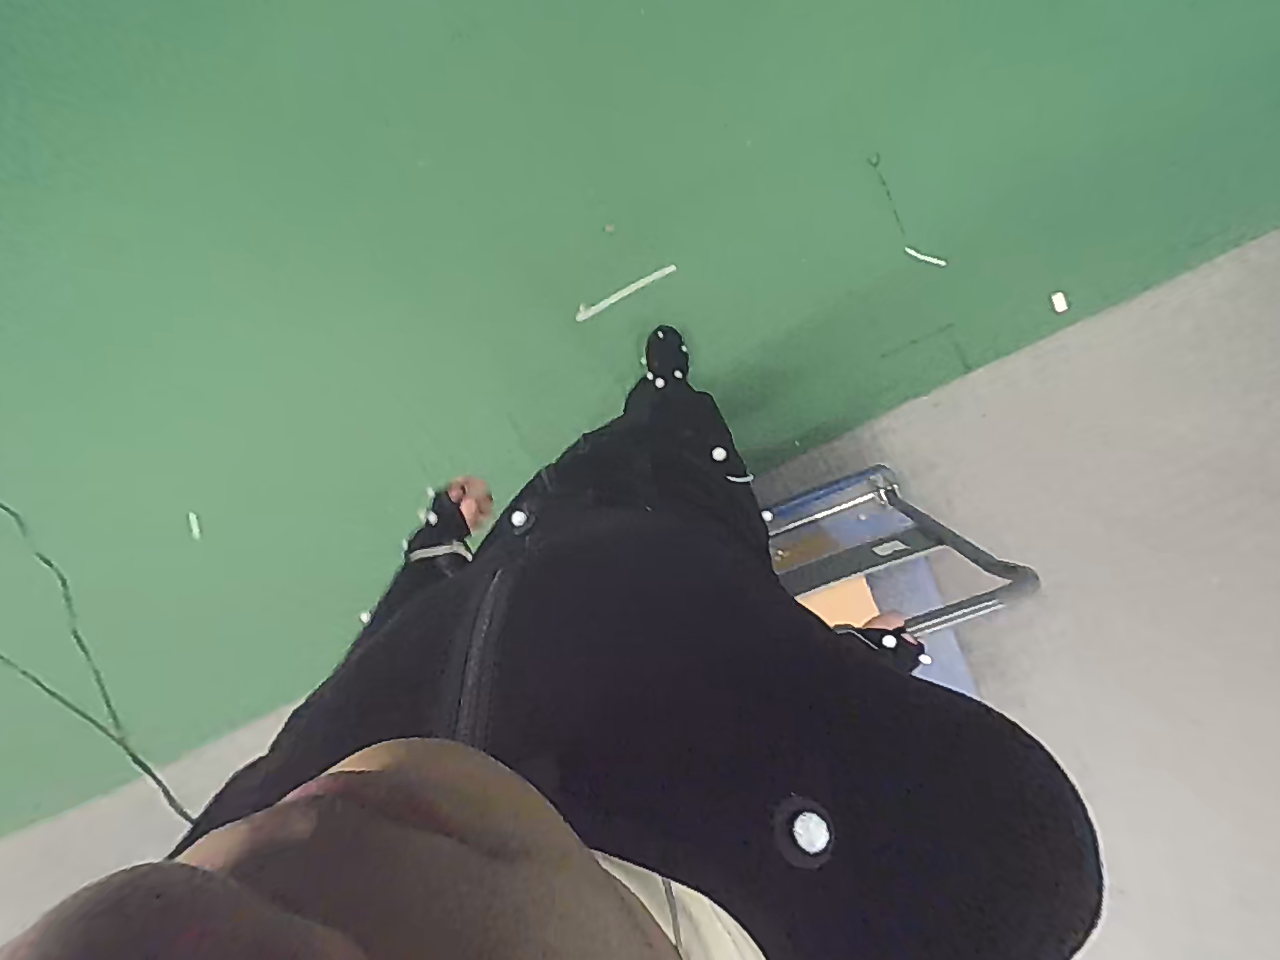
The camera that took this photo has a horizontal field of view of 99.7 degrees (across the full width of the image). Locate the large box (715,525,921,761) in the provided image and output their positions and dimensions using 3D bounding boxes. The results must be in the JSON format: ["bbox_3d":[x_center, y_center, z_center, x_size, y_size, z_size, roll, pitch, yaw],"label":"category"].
[{"bbox_3d":[0.410,0.378,1.332,0.320,0.320,0.408,-23,97,9],"label":"large box"}]
